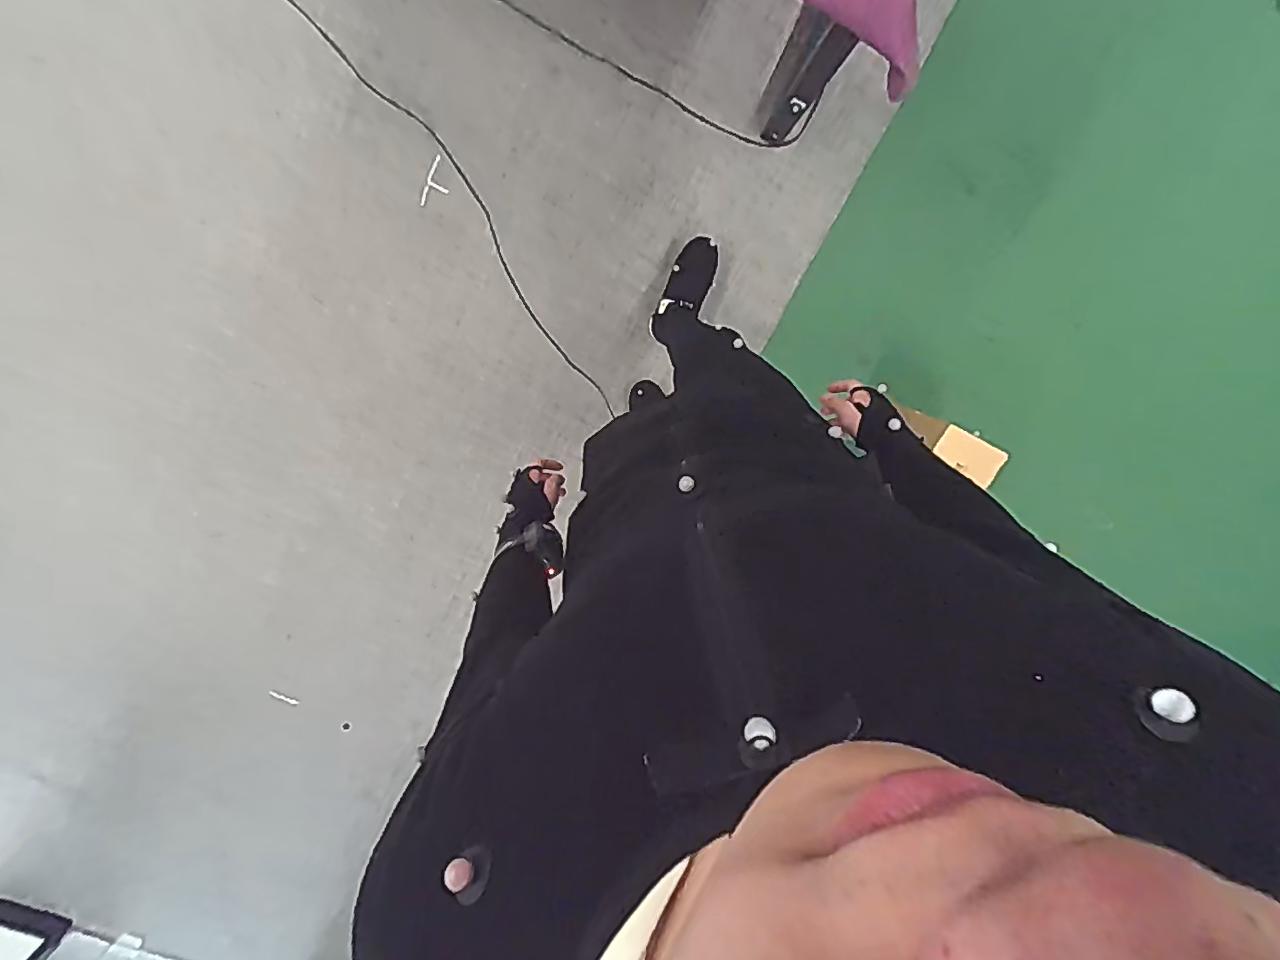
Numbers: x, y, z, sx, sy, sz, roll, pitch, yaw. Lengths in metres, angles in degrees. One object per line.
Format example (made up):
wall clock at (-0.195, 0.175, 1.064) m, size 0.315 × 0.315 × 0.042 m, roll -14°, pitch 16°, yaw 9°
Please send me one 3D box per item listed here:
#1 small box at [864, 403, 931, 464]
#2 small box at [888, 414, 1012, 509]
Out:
small box at (0.772, -0.104, 1.520) m, size 0.179 × 0.176 × 0.168 m, roll 26°, pitch 105°, yaw -6°
small box at (0.770, -0.054, 1.366) m, size 0.179 × 0.176 × 0.168 m, roll 25°, pitch 104°, yaw -8°
